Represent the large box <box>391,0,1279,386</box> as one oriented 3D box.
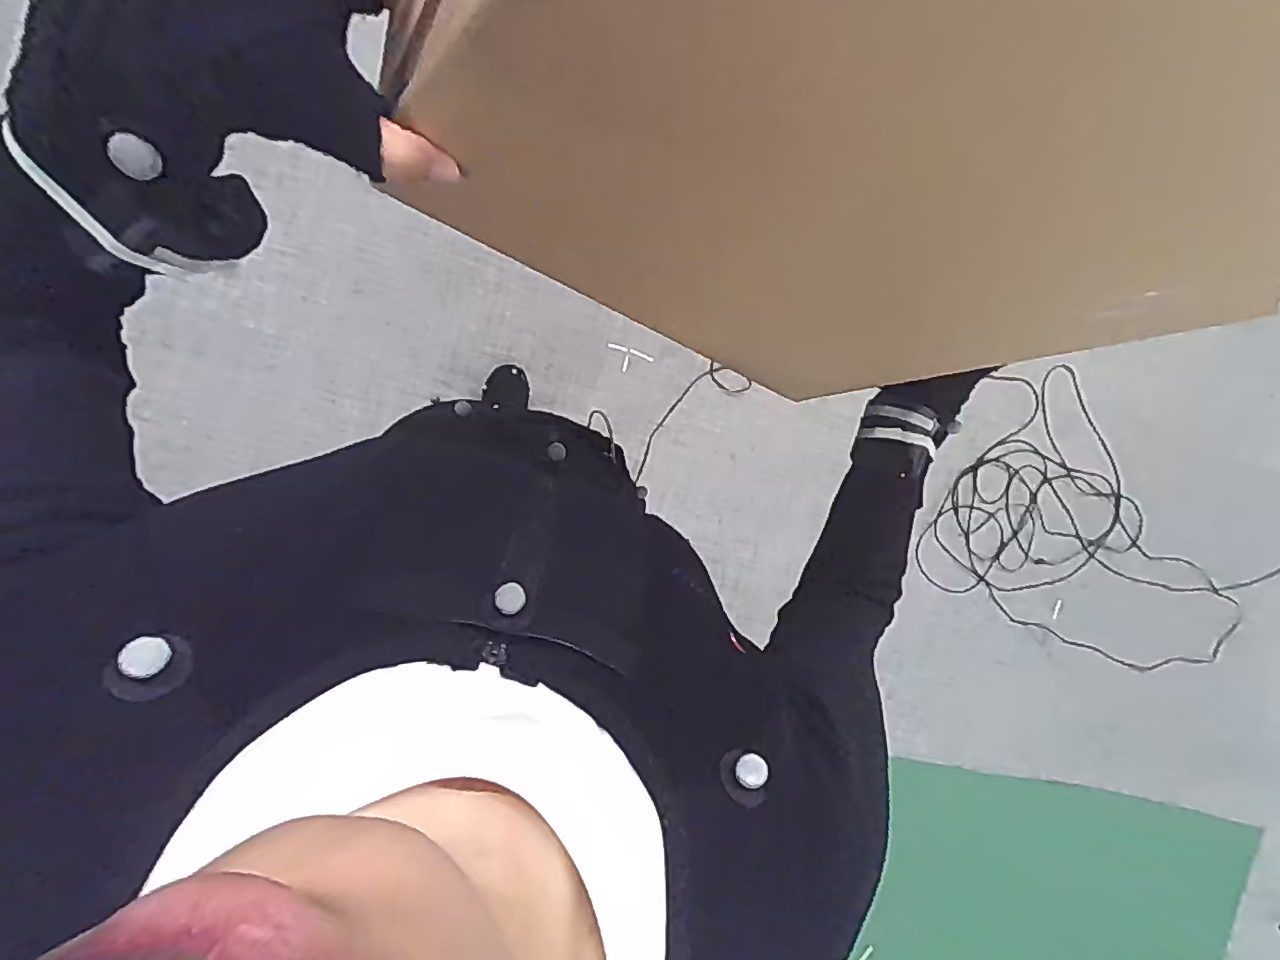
[{"bbox_3d":[0.129,-0.276,0.311,0.408,0.320,0.320,13,78,-45],"label":"large box"}]
